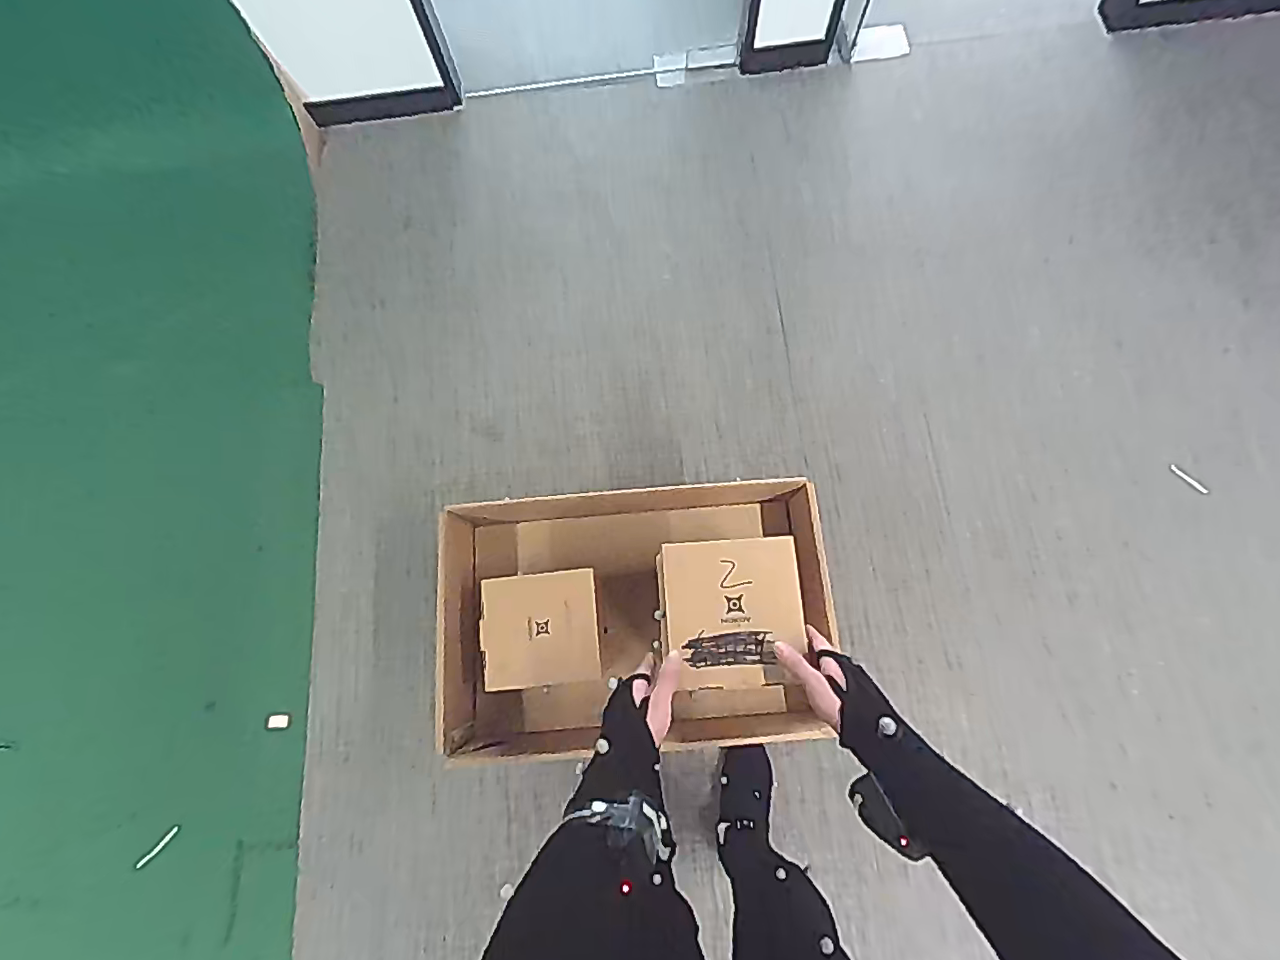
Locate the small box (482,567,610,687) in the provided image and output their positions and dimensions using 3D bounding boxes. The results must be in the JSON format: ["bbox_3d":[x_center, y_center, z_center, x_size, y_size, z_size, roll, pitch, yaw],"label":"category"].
[{"bbox_3d":[-0.148,0.239,0.889,0.179,0.176,0.168,-5,76,-1],"label":"small box"}]
